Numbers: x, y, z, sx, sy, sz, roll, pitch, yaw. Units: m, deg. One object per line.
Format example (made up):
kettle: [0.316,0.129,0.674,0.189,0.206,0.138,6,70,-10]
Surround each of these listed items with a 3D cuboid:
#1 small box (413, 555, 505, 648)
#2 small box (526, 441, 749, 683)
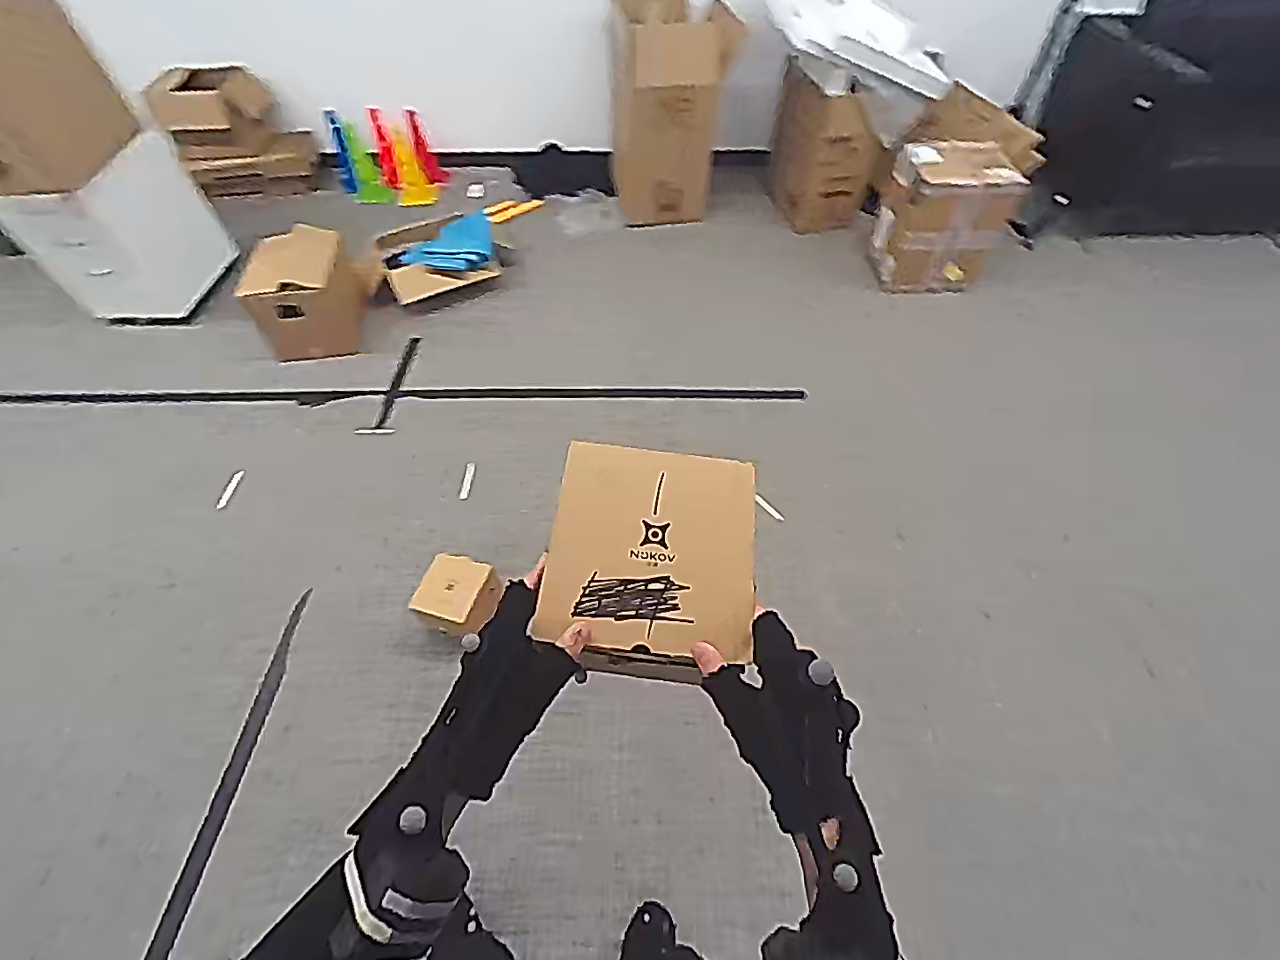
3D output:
small box: [-0.495,0.342,1.513,0.168,0.176,0.179,13,55,11]
small box: [0.002,0.087,0.510,0.168,0.176,0.179,7,64,1]
